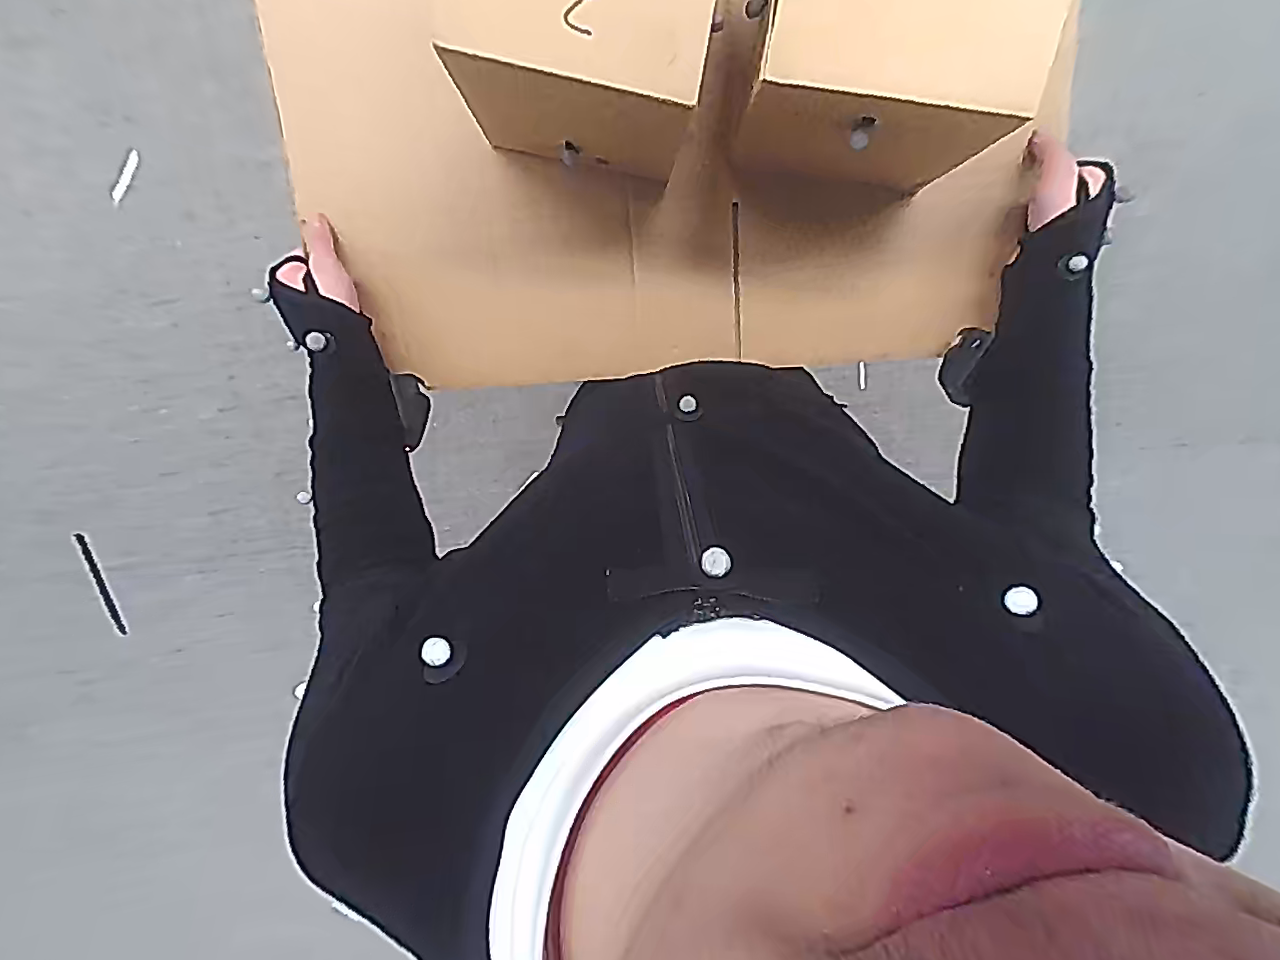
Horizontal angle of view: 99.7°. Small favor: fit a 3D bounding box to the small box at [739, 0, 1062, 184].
[{"bbox_3d":[0.183,-0.341,0.409,0.179,0.176,0.168,9,105,2],"label":"small box"}]
